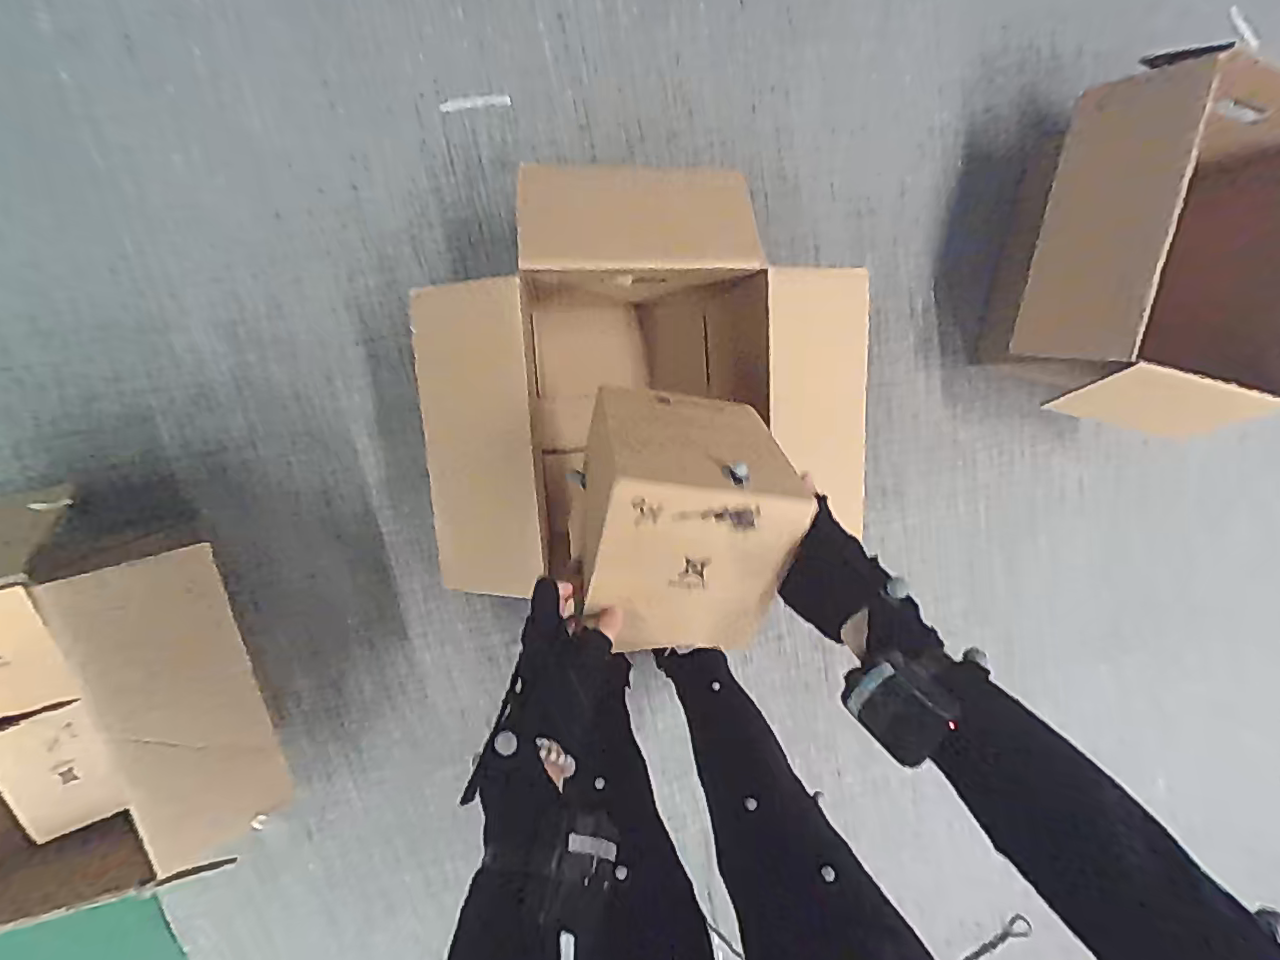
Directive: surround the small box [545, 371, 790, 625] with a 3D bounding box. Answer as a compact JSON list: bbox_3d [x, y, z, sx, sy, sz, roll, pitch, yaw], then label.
[{"bbox_3d":[0.024,0.028,0.510,0.168,0.179,0.176,19,67,-14],"label":"small box"}]
